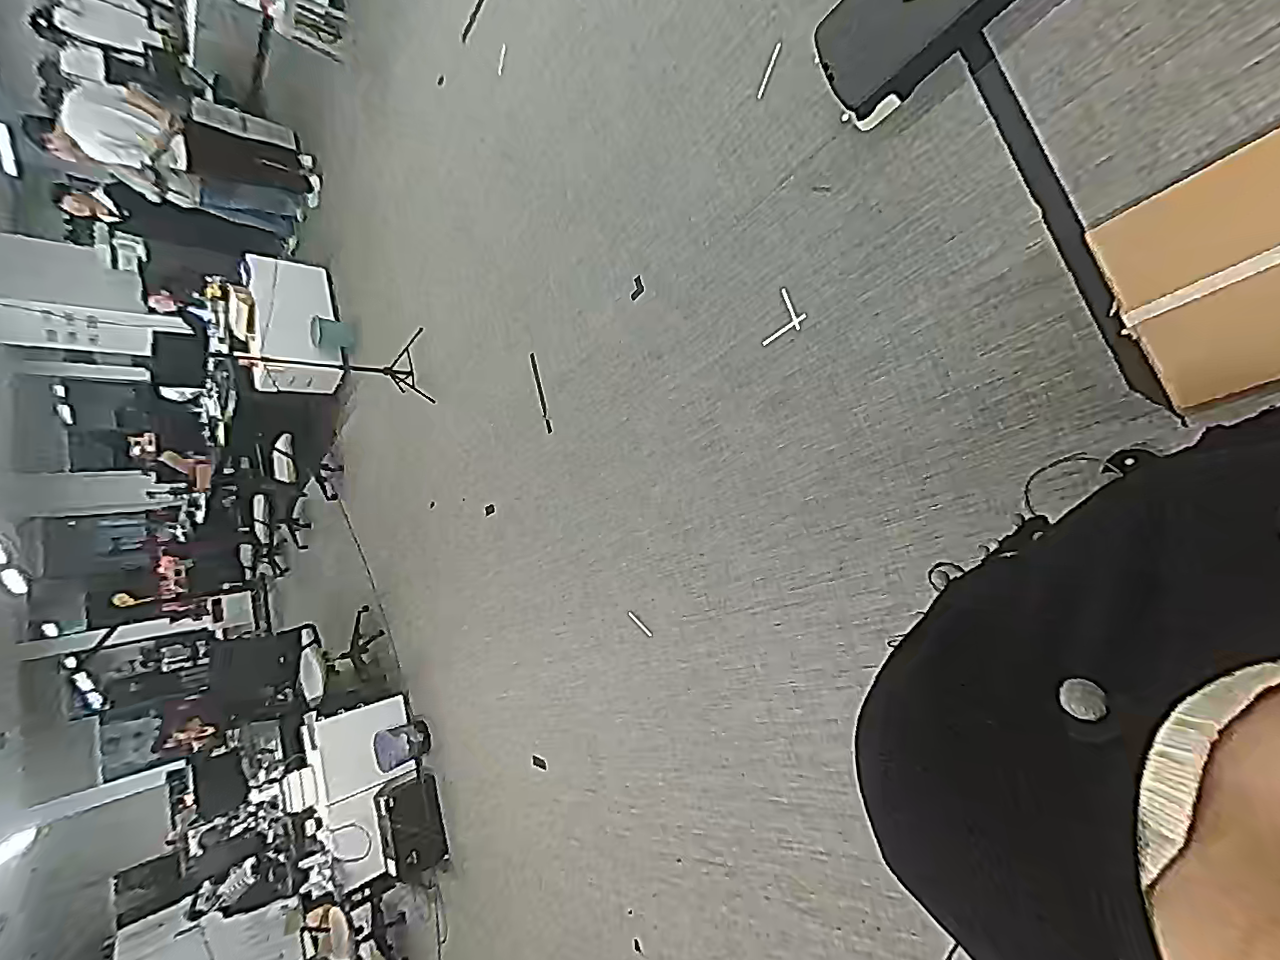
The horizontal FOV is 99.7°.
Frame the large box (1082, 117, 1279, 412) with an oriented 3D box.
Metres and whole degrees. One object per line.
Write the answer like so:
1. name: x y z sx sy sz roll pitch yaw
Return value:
1. large box: 0.967 -0.328 0.788 0.408 0.320 0.320 -28 74 42
